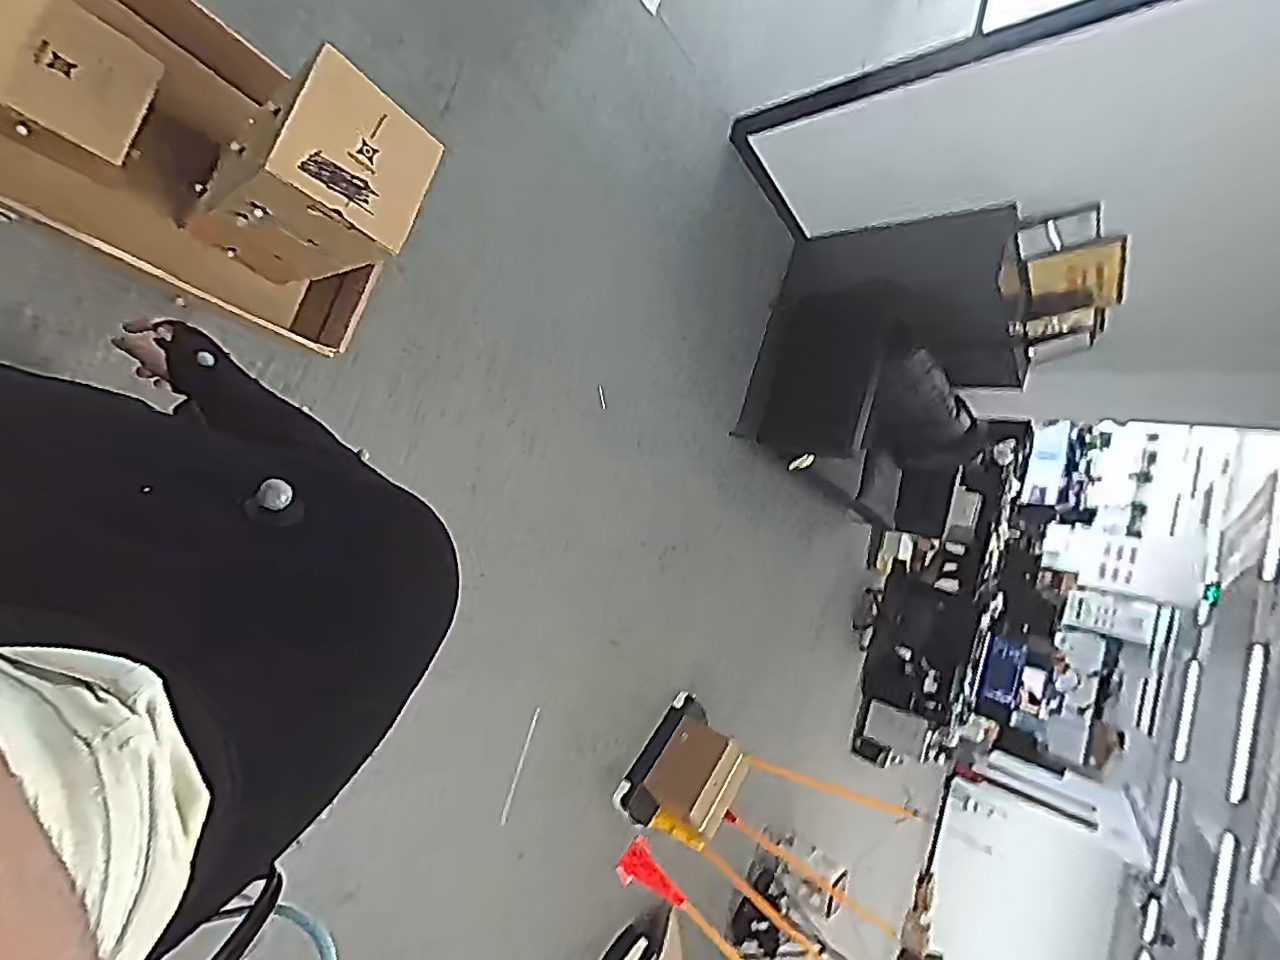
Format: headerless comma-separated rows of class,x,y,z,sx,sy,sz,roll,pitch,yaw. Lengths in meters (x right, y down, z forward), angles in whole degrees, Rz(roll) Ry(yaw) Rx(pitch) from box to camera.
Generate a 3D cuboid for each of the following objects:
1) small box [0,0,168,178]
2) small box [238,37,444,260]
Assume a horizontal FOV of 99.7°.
small box,-0.805,-0.551,0.743,0.179,0.176,0.168,27,78,-50
small box,-0.404,-0.421,0.726,0.168,0.176,0.179,28,76,-48
